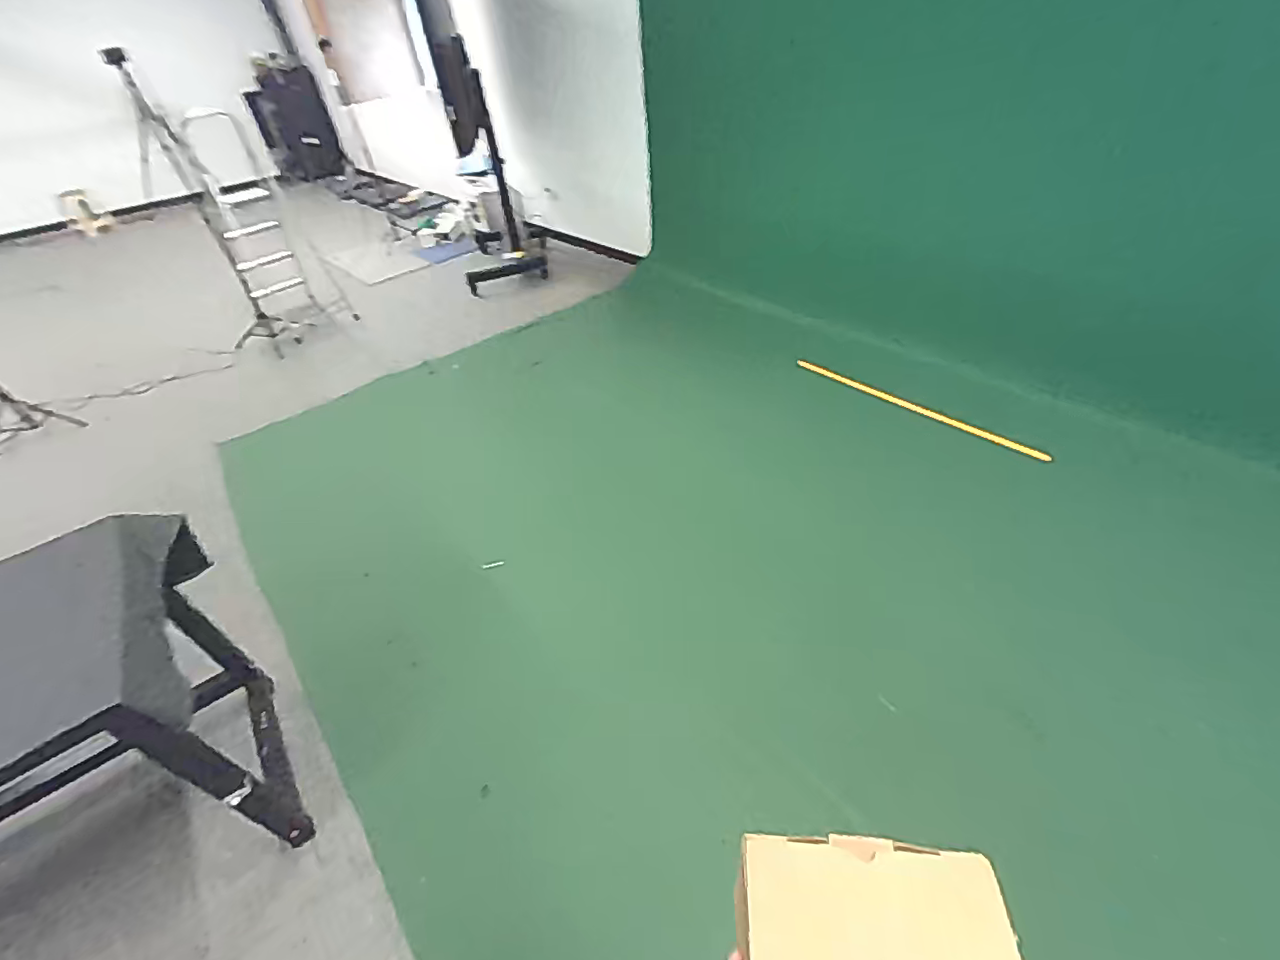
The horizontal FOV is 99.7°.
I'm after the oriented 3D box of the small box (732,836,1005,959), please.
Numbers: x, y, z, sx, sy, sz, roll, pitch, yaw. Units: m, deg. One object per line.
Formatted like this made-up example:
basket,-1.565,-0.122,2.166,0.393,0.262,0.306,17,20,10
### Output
small box,0.149,0.378,0.374,0.168,0.176,0.179,0,41,8
